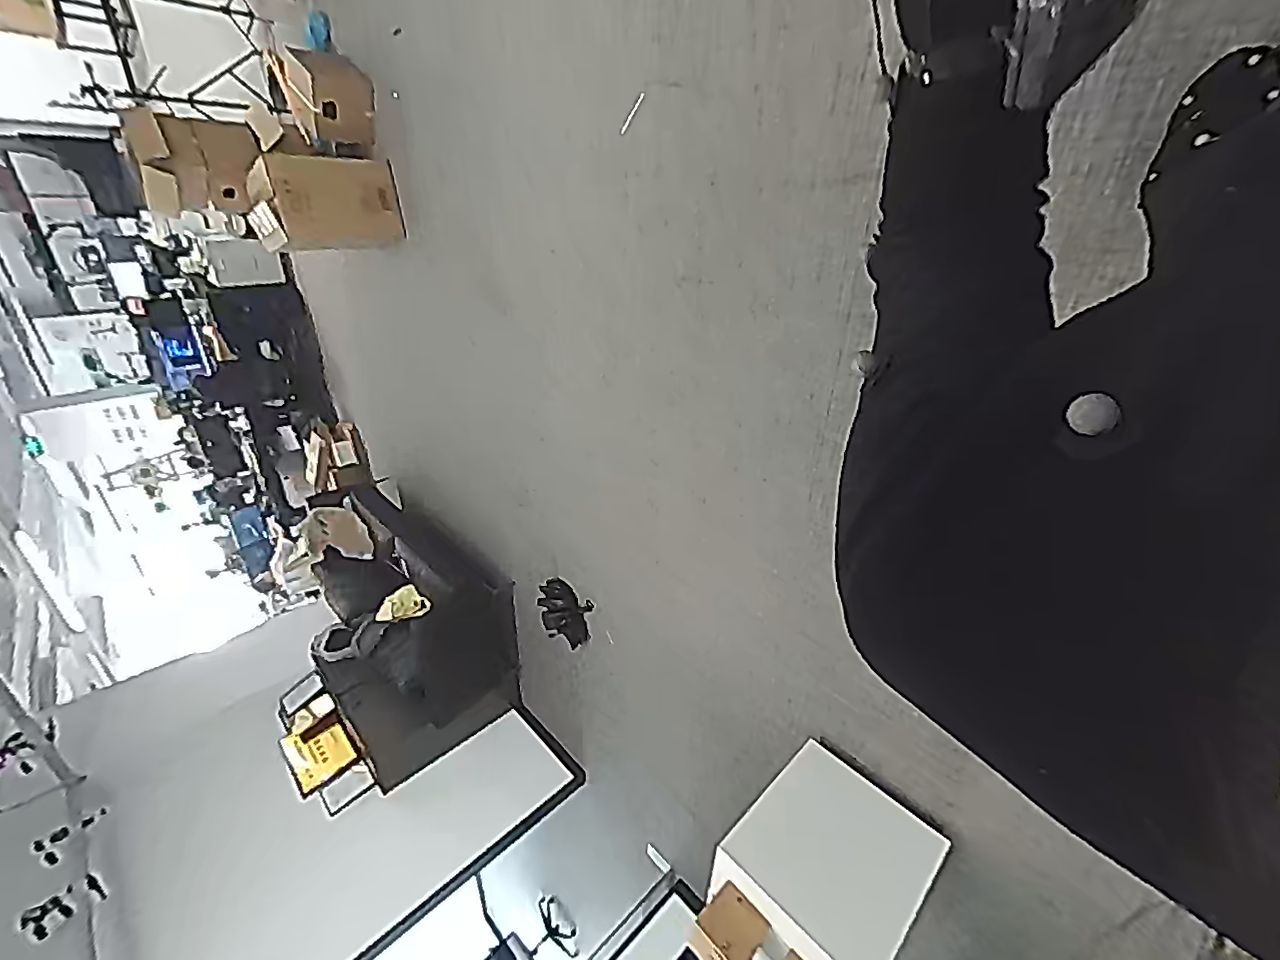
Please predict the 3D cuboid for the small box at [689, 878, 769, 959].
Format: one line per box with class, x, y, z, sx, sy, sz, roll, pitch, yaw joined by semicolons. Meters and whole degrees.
small box;0.272;1.377;1.649;0.168;0.176;0.179;31;130;36
